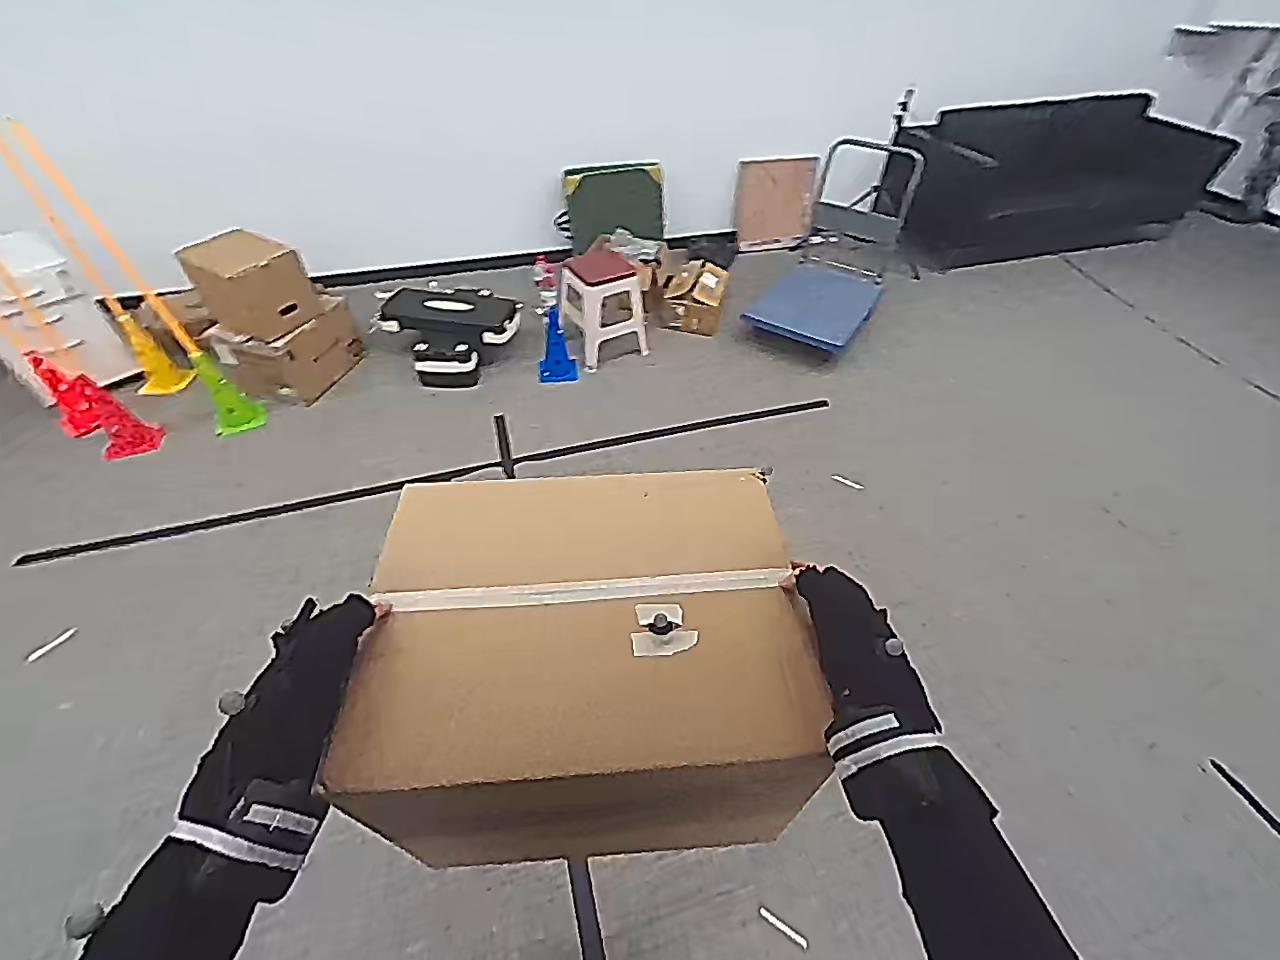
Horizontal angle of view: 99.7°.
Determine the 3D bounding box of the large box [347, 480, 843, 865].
[{"bbox_3d":[-0.044,0.222,0.634,0.408,0.320,0.320,-2,46,-3],"label":"large box"}]
